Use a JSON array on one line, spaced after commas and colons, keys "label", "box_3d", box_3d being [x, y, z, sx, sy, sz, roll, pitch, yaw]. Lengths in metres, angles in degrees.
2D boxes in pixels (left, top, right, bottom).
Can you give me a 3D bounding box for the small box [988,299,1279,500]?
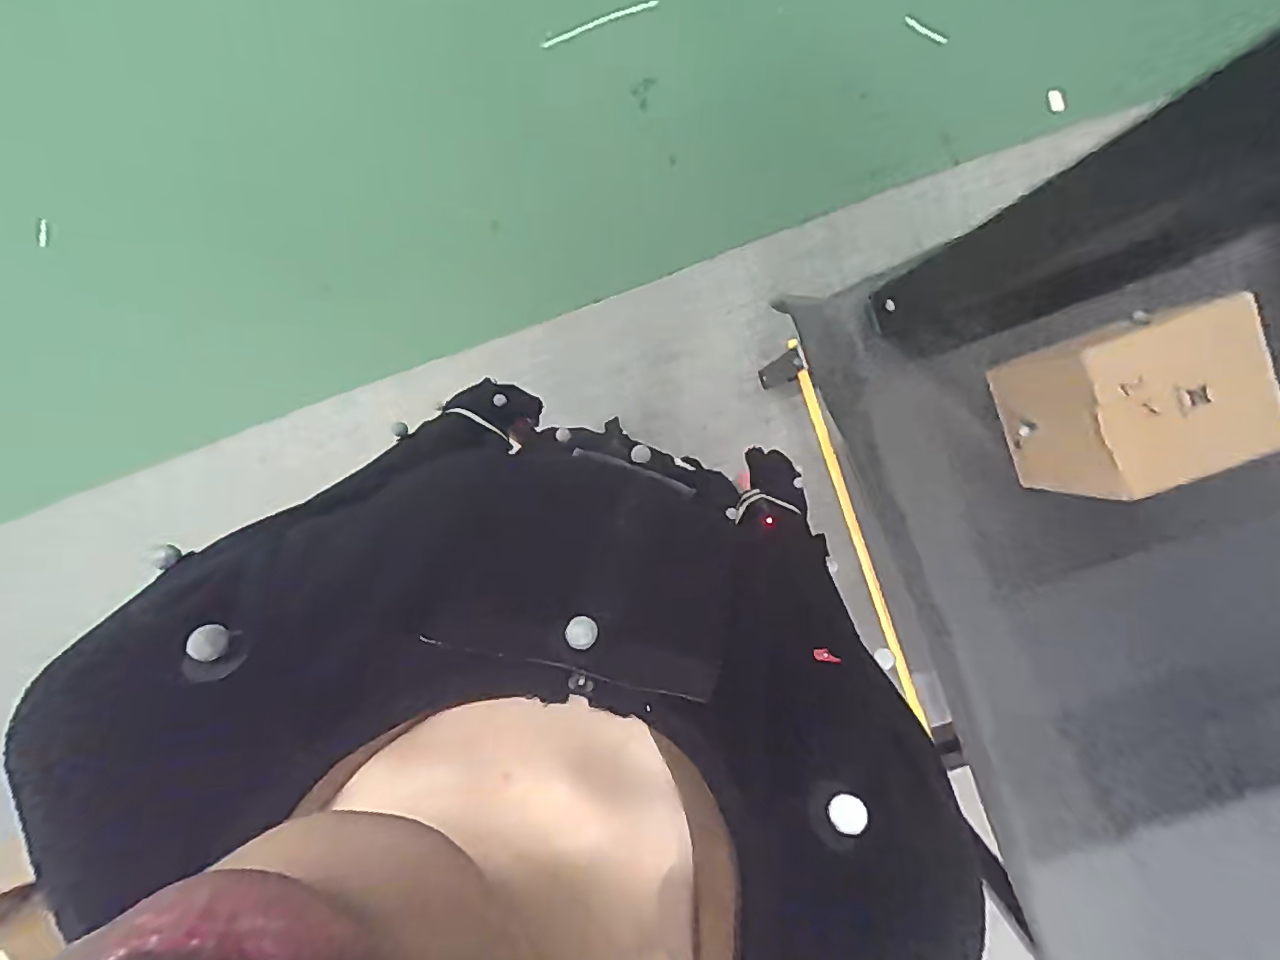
[{"label": "small box", "box_3d": [0.562, -0.089, 0.636, 0.179, 0.176, 0.168, -20, 93, 3]}]
